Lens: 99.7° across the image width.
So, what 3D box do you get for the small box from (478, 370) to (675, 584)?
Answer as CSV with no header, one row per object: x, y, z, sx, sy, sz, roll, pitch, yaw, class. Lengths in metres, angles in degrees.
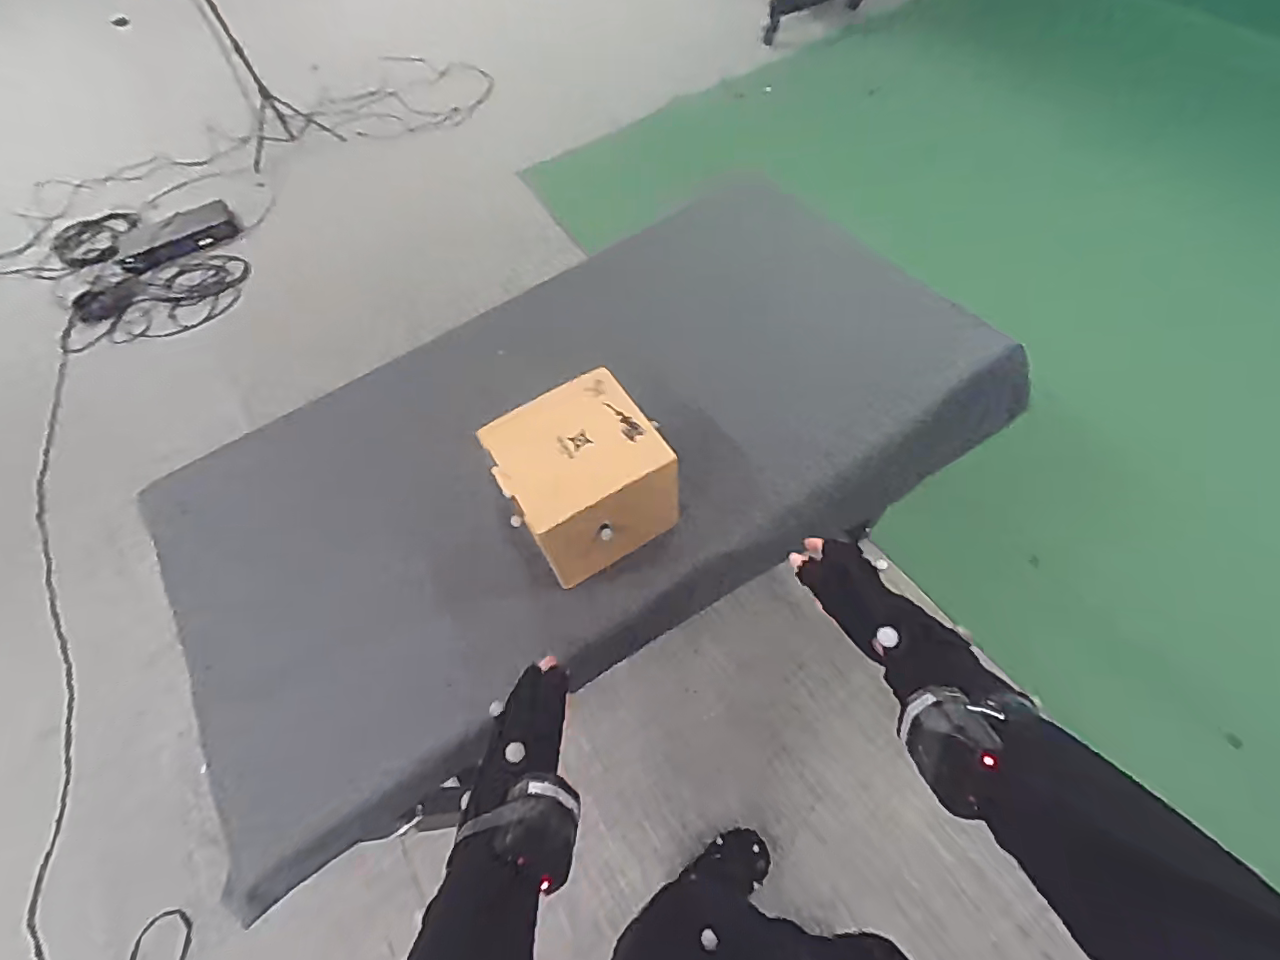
-0.069,0.003,0.677,0.179,0.176,0.168,-30,61,-11,small box
